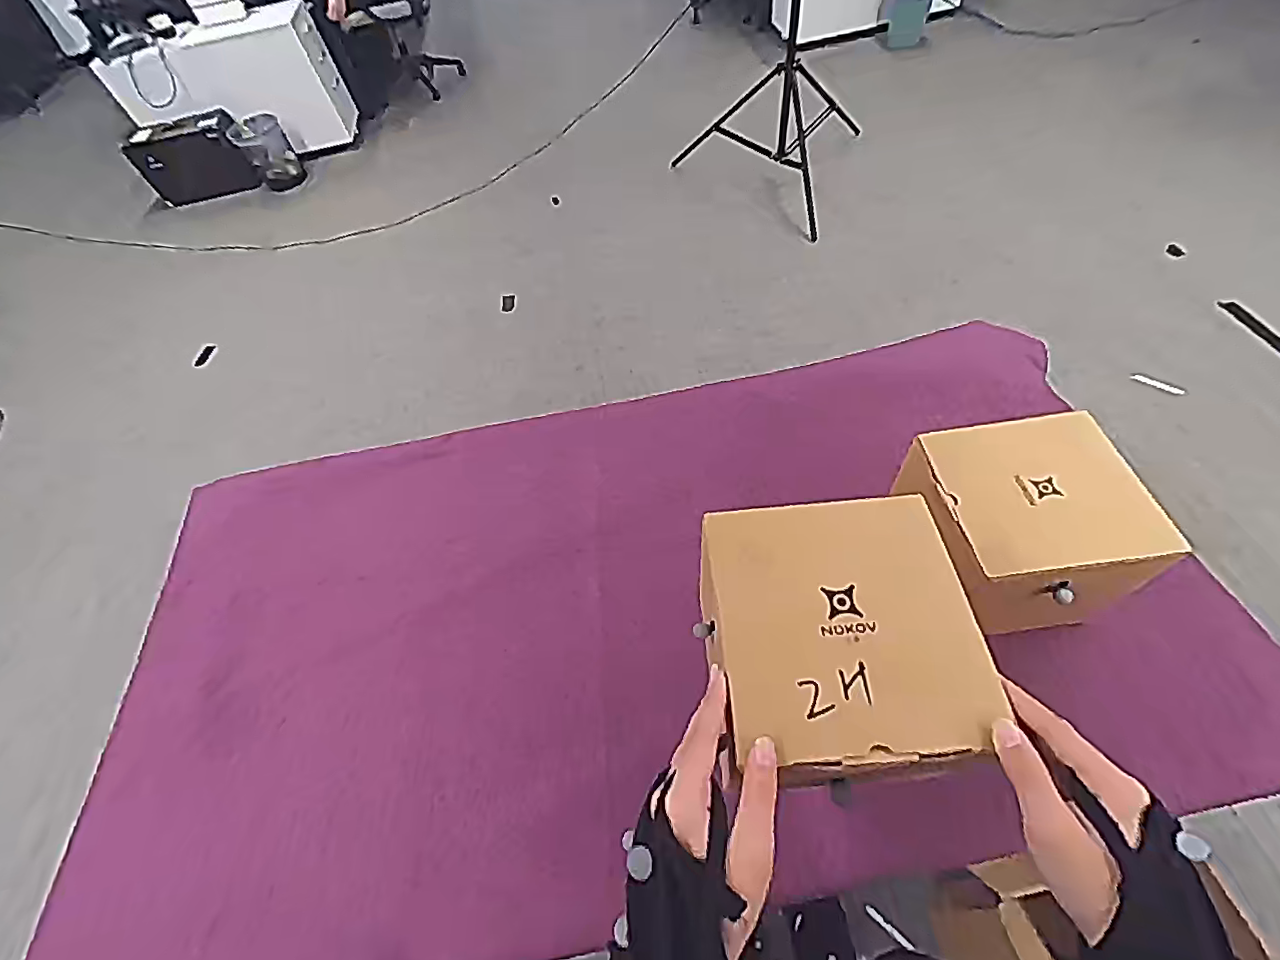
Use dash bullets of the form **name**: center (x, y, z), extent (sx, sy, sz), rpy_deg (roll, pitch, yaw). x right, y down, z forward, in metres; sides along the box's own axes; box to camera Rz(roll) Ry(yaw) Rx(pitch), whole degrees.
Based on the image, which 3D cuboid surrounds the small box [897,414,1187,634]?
- **small box**: center (0.388, 0.056, 0.577), extent (0.179, 0.176, 0.168), rpy_deg (-9, 54, 4)

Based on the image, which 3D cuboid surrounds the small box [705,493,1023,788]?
- **small box**: center (0.143, 0.132, 0.427), extent (0.168, 0.176, 0.179), rpy_deg (-6, 56, 2)
